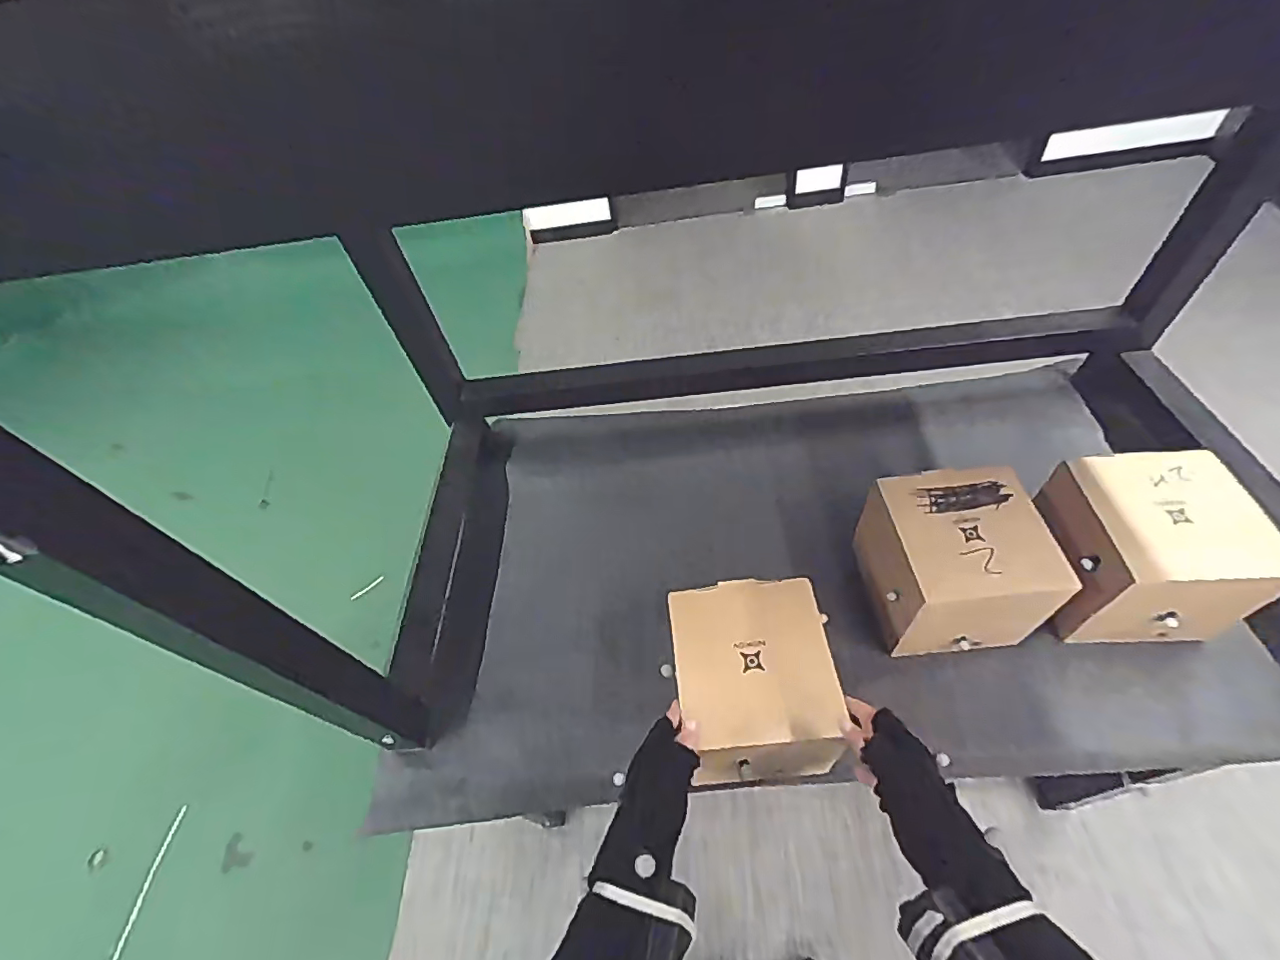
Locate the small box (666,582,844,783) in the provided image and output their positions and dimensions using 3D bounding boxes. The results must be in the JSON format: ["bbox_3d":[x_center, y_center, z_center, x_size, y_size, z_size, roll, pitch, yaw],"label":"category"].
[{"bbox_3d":[0.124,0.243,0.636,0.168,0.176,0.179,-6,49,3],"label":"small box"}]
